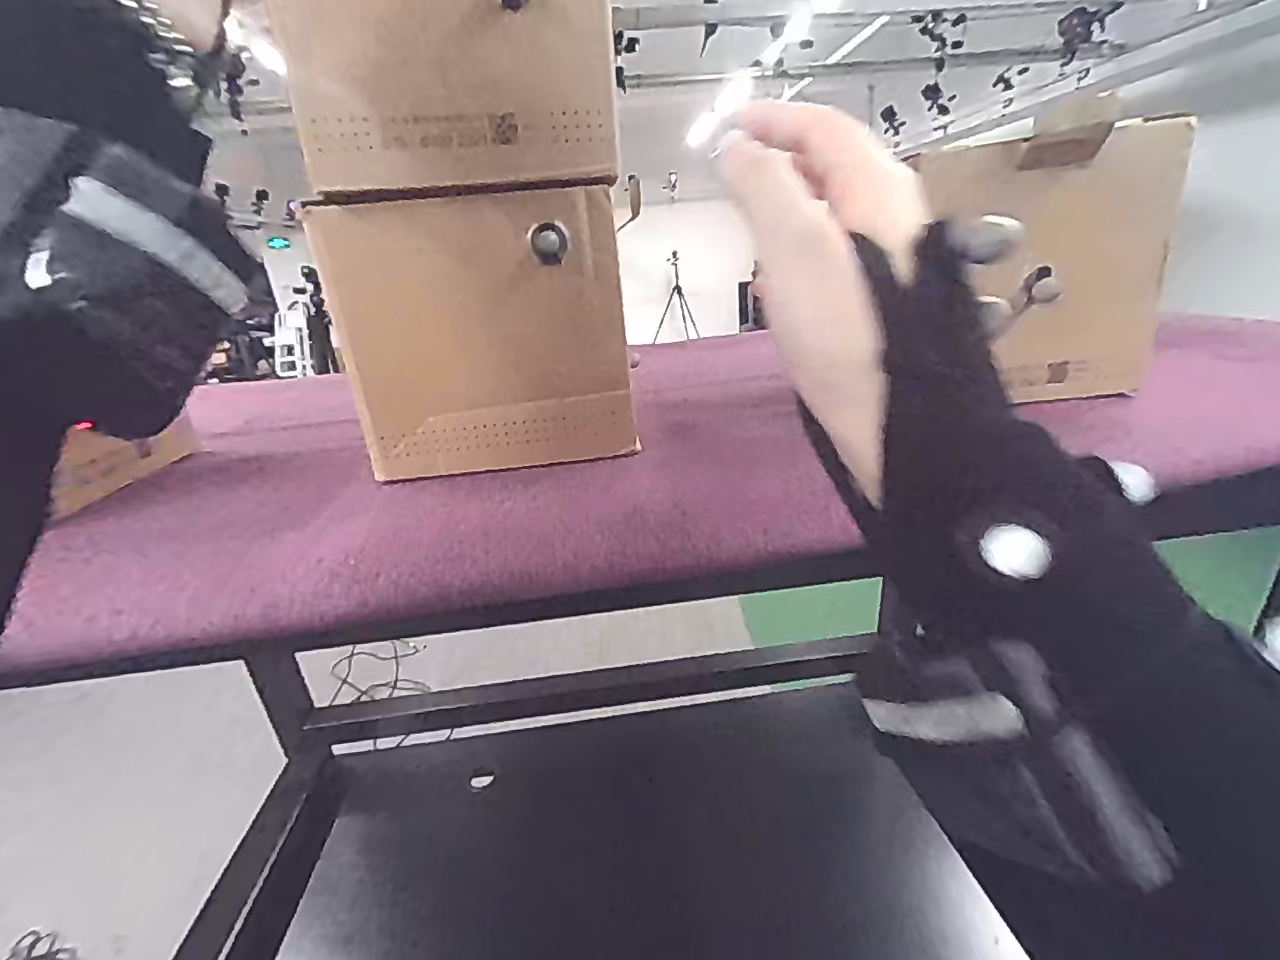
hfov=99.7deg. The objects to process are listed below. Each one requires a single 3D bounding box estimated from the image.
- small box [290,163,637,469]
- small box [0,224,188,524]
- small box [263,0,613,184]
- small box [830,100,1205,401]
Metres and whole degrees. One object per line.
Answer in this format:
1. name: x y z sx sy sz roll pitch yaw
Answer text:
1. small box: -0.102 -0.113 0.393 0.179 0.176 0.168 -6 21 -4
2. small box: -0.460 -0.066 0.349 0.179 0.176 0.168 -6 23 -4
3. small box: -0.110 -0.264 0.336 0.168 0.176 0.179 -6 19 -7
4. small box: 0.255 -0.160 0.419 0.168 0.176 0.179 -6 20 3
